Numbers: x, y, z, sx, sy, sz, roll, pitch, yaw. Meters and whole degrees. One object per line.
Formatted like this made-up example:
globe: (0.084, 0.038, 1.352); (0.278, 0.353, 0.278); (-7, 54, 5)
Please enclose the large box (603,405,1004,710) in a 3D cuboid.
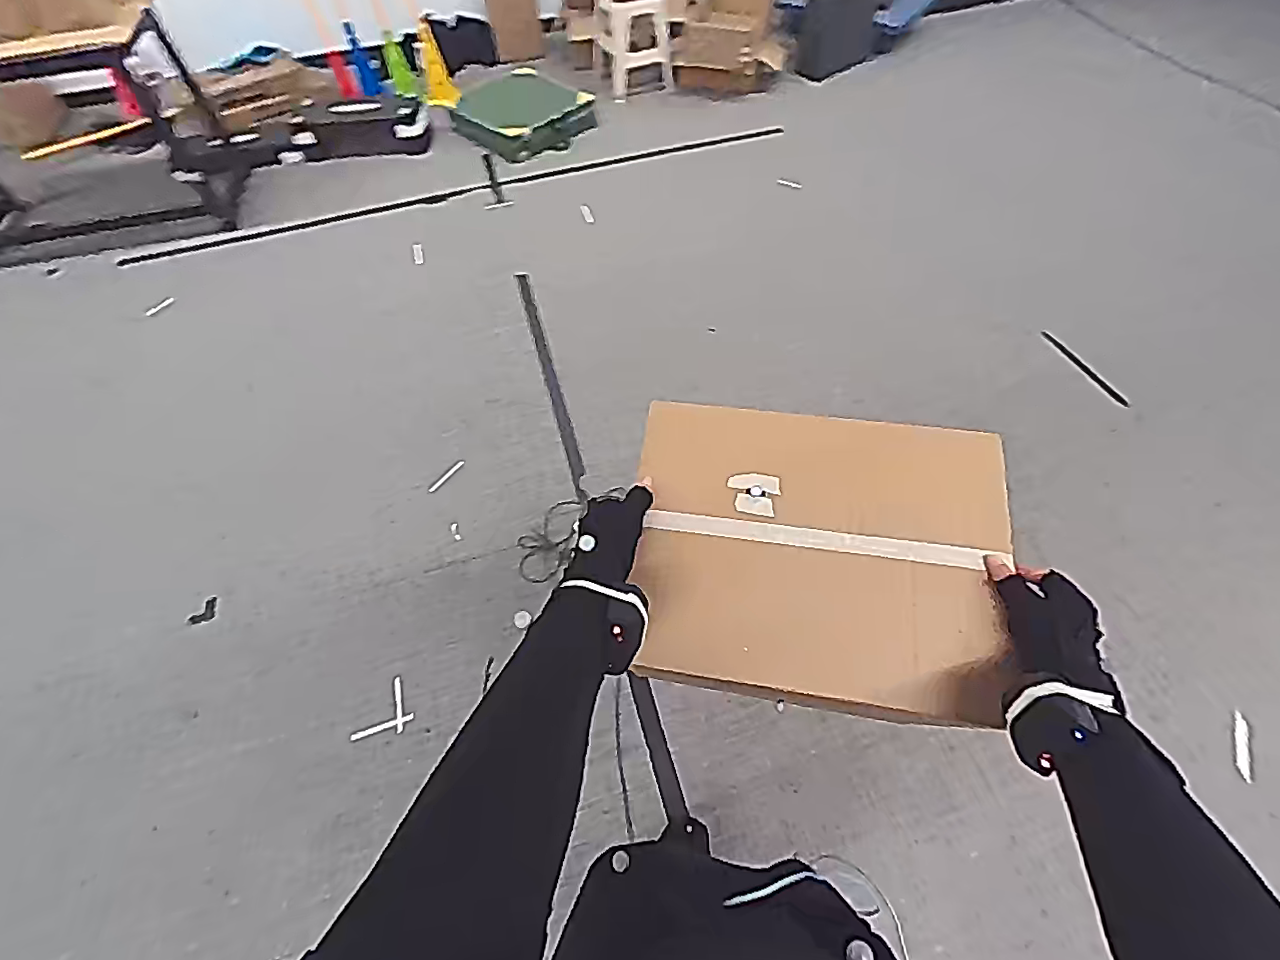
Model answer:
large box: (0.194, 0.118, 0.736); (0.408, 0.320, 0.320); (6, 67, 9)
